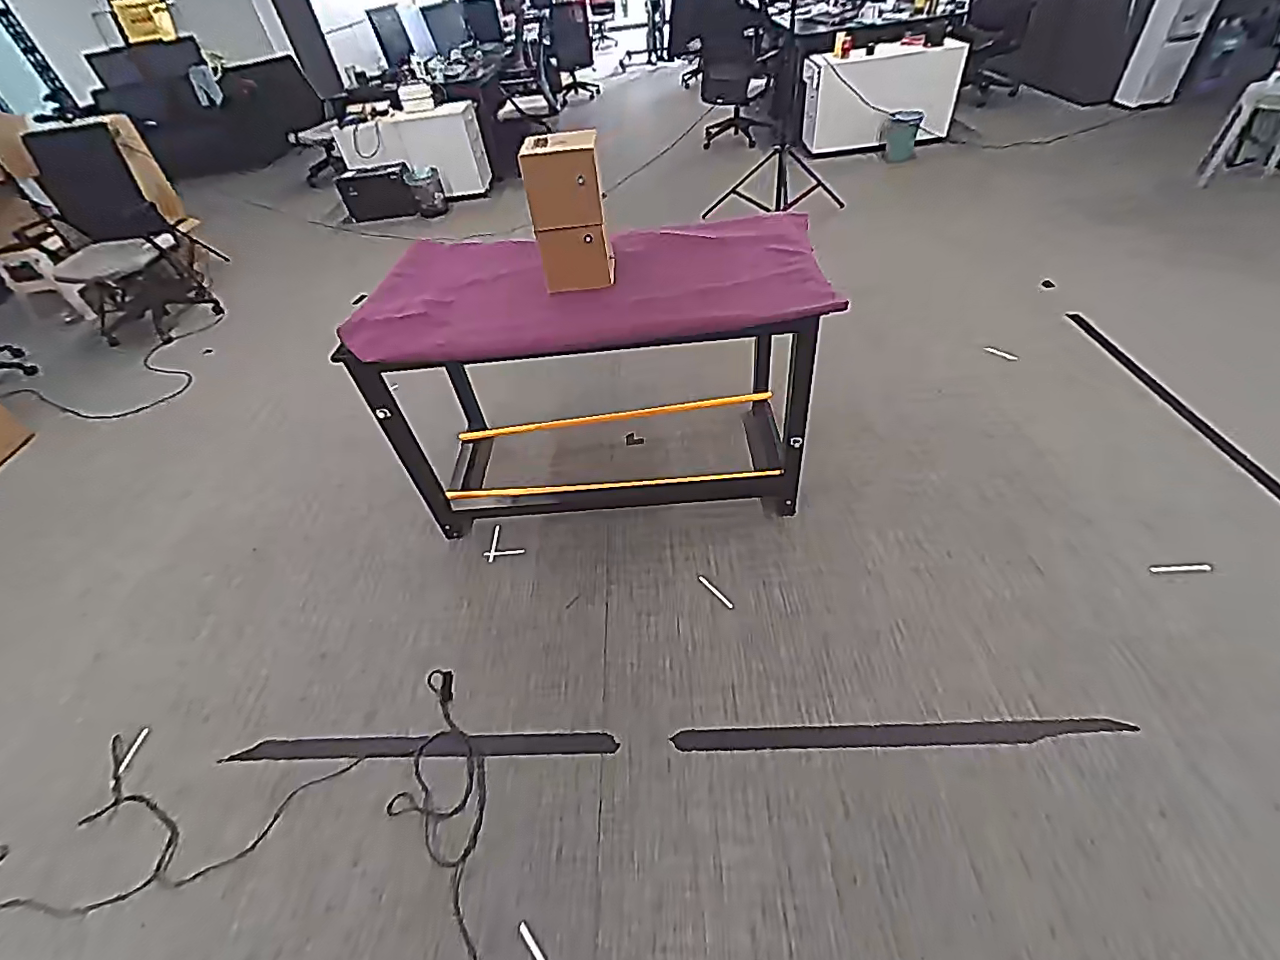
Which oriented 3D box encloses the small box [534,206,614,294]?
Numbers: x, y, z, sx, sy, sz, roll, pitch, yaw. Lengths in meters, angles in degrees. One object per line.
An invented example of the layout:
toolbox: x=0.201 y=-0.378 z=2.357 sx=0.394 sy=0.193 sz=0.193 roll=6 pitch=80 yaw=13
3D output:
small box: x=-0.169 y=-0.613 z=1.450 sx=0.179 sy=0.176 sz=0.168 roll=-4 pitch=44 yaw=4
